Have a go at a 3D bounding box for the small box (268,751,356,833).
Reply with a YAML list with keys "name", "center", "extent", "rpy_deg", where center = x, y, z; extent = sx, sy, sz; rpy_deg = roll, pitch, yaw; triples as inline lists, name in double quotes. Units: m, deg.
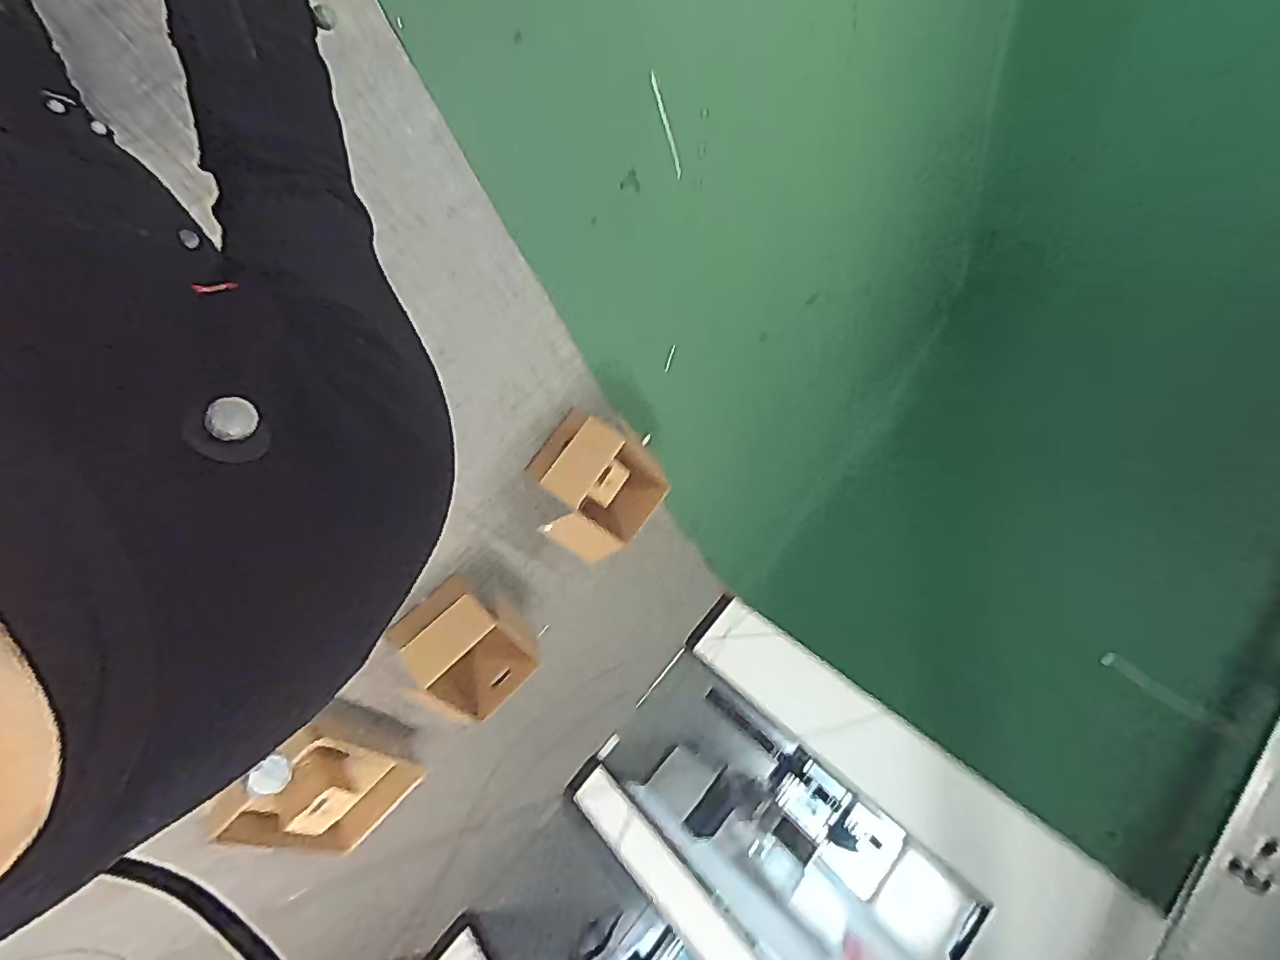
- name: "small box"
  center: [-1.123, 1.061, 1.848]
  extent: [0.168, 0.176, 0.179]
  rpy_deg: [-42, 144, -17]
